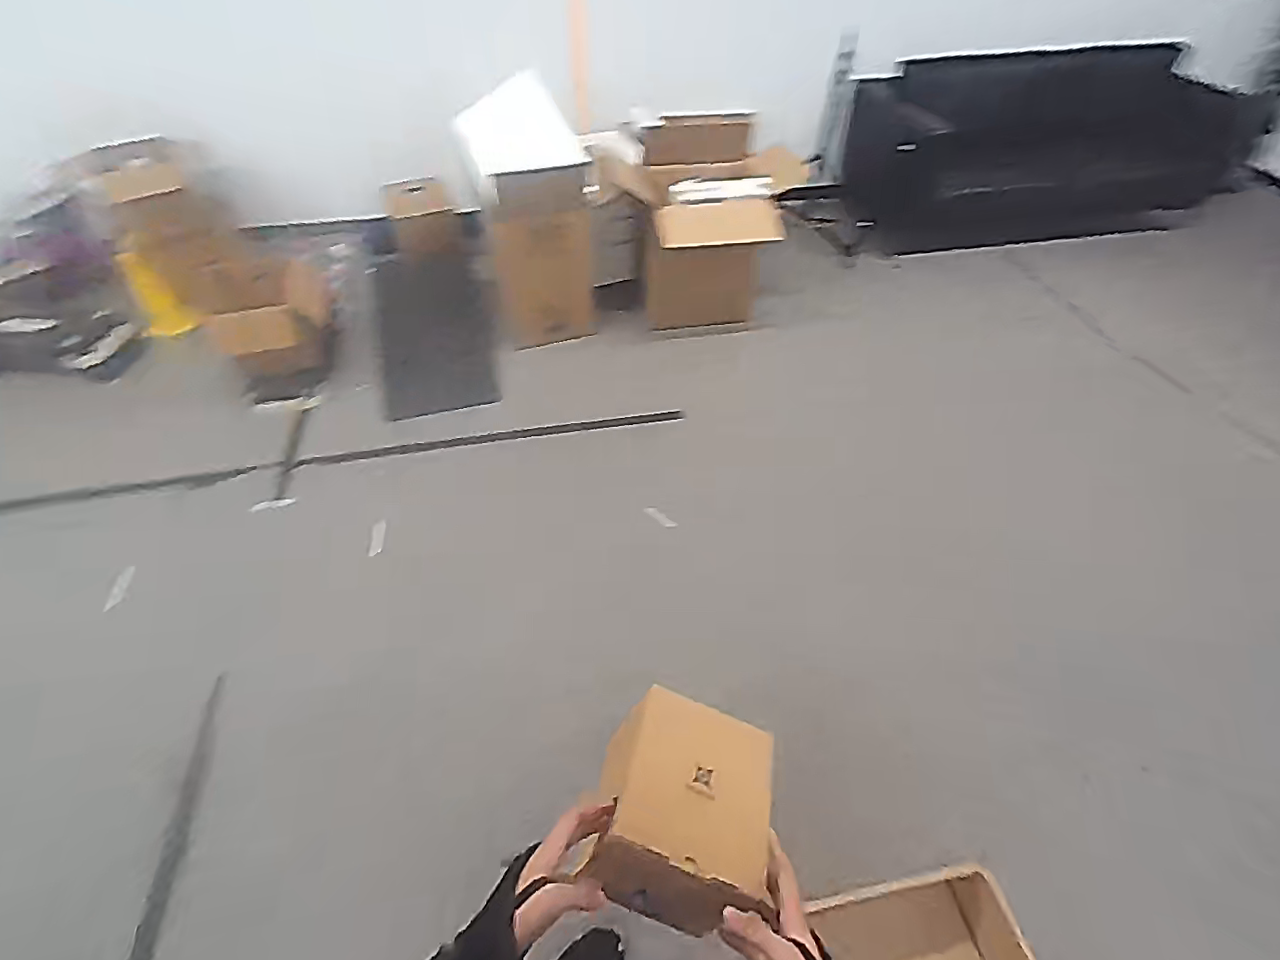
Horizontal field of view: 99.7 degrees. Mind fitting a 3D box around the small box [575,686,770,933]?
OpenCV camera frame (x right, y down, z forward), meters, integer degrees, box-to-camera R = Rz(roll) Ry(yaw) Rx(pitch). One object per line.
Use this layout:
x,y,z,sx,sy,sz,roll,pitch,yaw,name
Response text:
0.038,0.387,0.637,0.168,0.176,0.179,23,38,-1,small box
